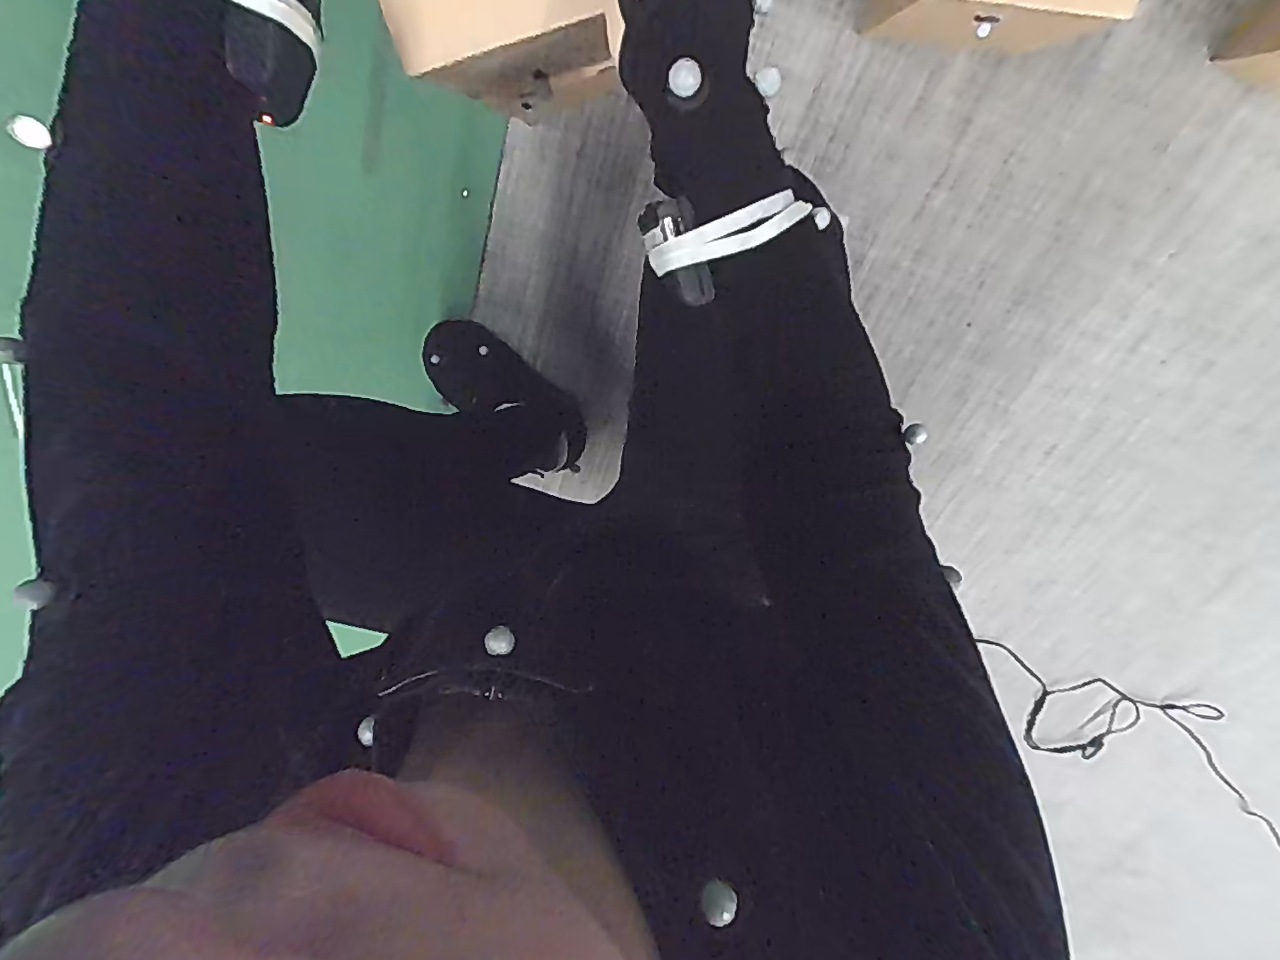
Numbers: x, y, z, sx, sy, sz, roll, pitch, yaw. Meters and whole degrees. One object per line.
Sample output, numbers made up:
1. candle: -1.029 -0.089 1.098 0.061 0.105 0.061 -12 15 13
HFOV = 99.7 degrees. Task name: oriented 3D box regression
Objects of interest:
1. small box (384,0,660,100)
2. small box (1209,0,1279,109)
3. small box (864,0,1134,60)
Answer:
1. small box: -0.085 -0.386 0.363 0.168 0.176 0.179 -11 119 7
2. small box: 0.722 -0.453 0.498 0.179 0.176 0.168 16 118 -9
3. small box: 0.327 -0.495 0.479 0.179 0.176 0.168 5 120 -3
